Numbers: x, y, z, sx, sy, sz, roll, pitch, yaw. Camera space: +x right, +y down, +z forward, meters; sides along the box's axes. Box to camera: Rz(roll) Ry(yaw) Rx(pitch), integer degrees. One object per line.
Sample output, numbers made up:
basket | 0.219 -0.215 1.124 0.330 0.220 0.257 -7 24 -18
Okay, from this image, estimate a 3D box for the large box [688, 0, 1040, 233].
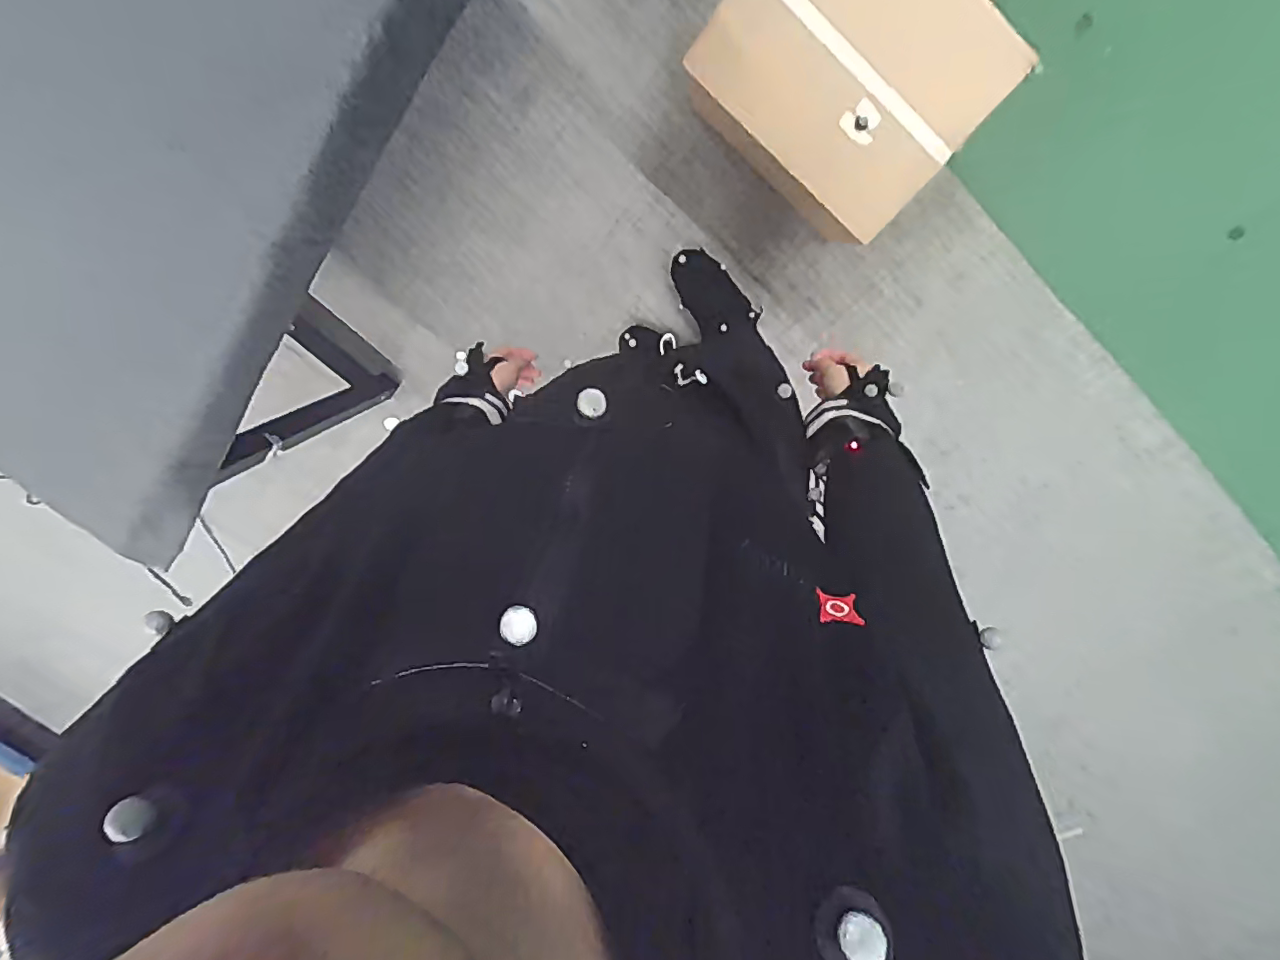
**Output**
large box | 0.332 -0.680 0.915 0.408 0.320 0.320 38 115 -10
